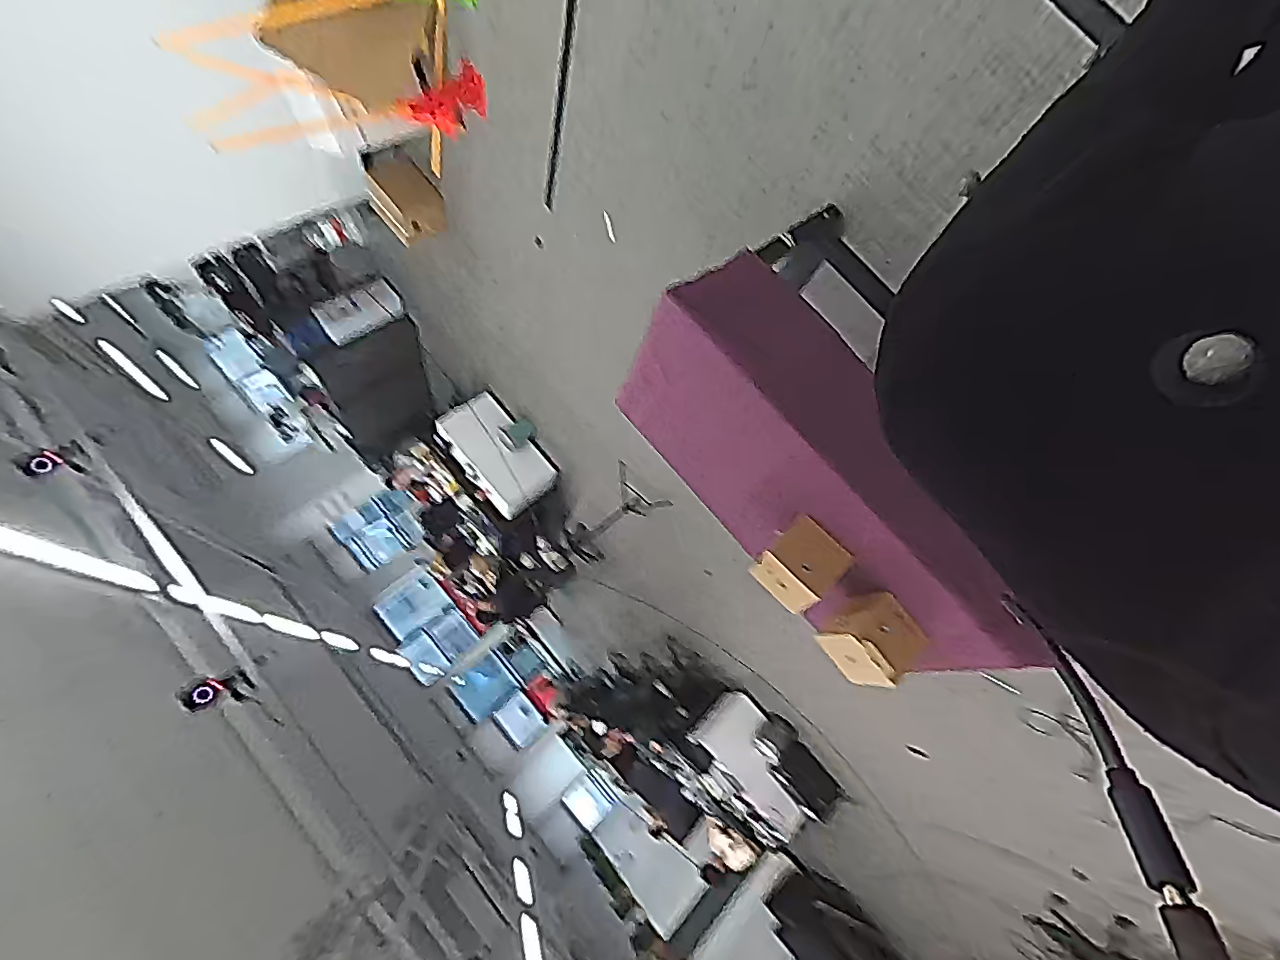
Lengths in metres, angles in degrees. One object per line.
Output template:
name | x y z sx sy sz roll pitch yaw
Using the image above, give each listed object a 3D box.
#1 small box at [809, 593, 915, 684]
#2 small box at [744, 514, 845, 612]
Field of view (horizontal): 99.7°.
small box | 0.597 0.417 1.441 0.168 0.176 0.179 52 156 2
small box | 0.423 0.227 1.479 0.179 0.176 0.168 46 154 15
